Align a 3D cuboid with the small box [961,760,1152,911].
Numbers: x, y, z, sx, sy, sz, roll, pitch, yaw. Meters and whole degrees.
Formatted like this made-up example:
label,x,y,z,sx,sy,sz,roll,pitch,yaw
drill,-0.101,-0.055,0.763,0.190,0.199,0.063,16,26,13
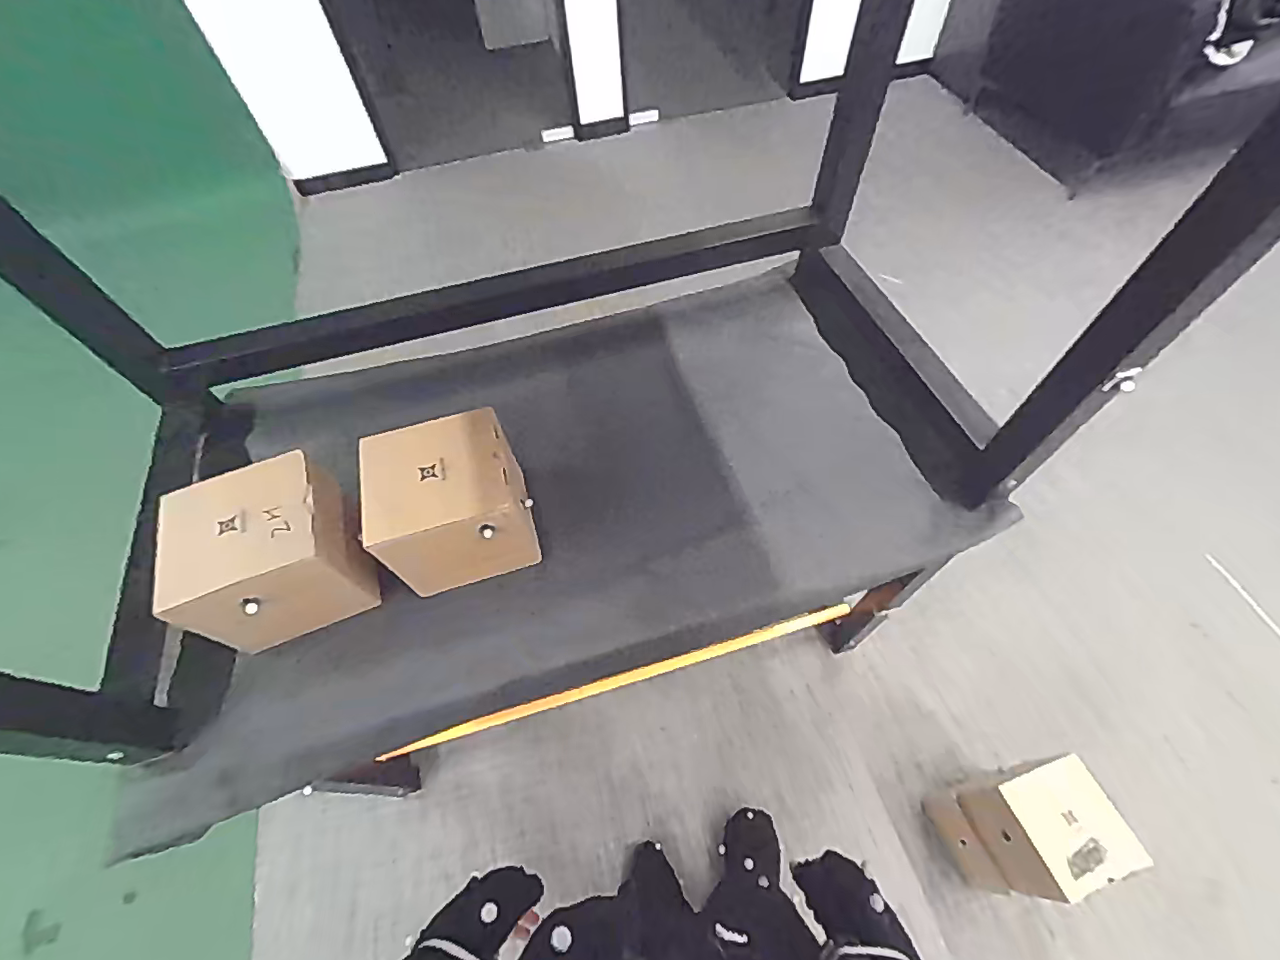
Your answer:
label,x,y,z,sx,sy,sz,roll,pitch,yaw
small box,0.727,0.628,0.969,0.168,0.176,0.179,-18,57,-7
